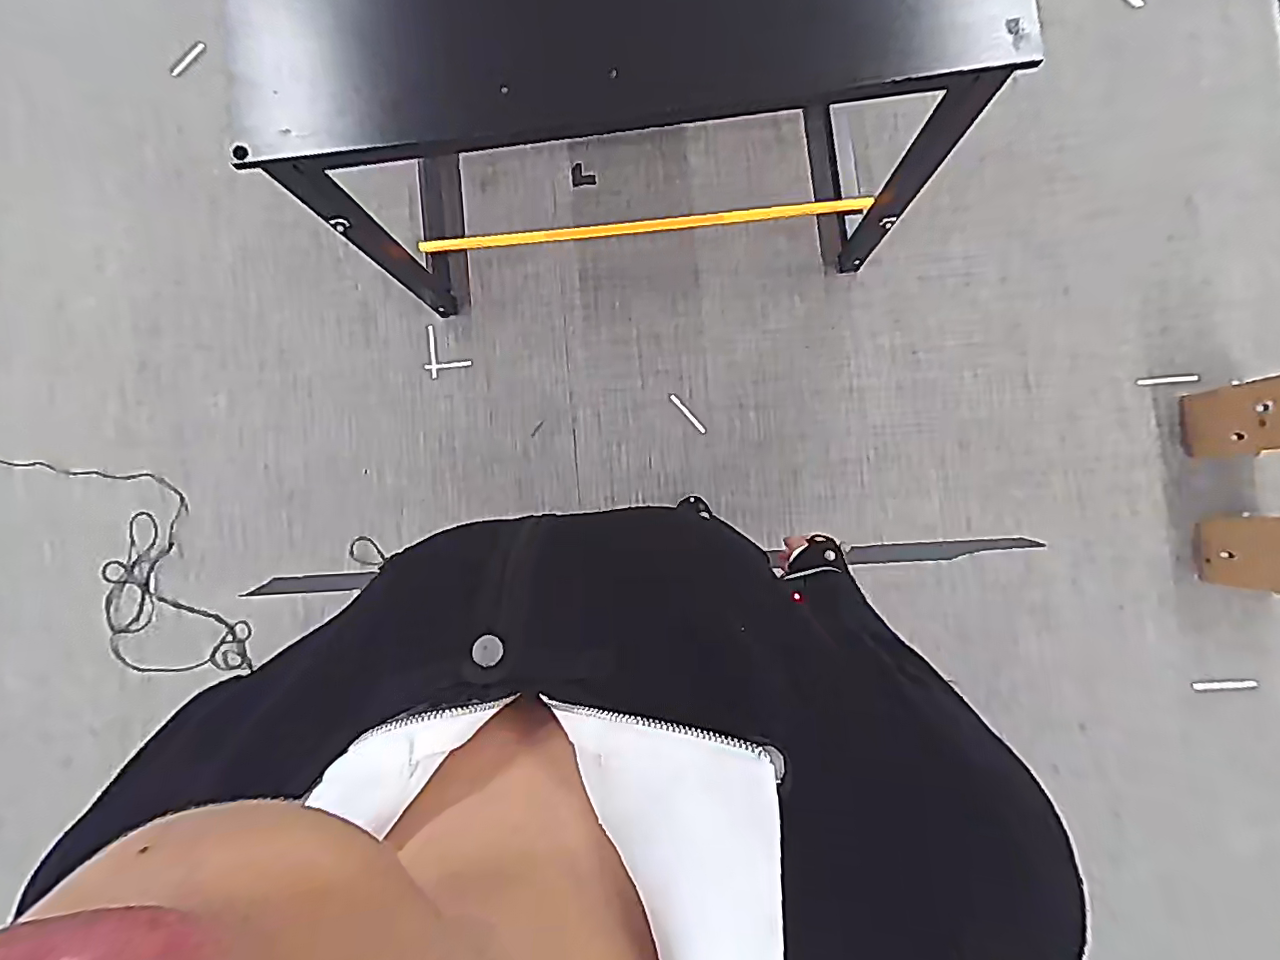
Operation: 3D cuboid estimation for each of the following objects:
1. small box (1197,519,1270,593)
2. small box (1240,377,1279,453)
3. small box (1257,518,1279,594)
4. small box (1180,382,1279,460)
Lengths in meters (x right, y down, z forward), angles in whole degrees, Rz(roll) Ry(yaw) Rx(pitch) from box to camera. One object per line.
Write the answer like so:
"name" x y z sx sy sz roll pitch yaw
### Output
"small box" 1.531 0.183 1.329 0.179 0.176 0.168 -3 88 4
"small box" 1.495 -0.154 1.181 0.179 0.176 0.168 -6 85 4
"small box" 1.504 0.167 1.165 0.168 0.176 0.179 -5 88 3
"small box" 1.510 -0.144 1.342 0.168 0.176 0.179 -6 87 3
